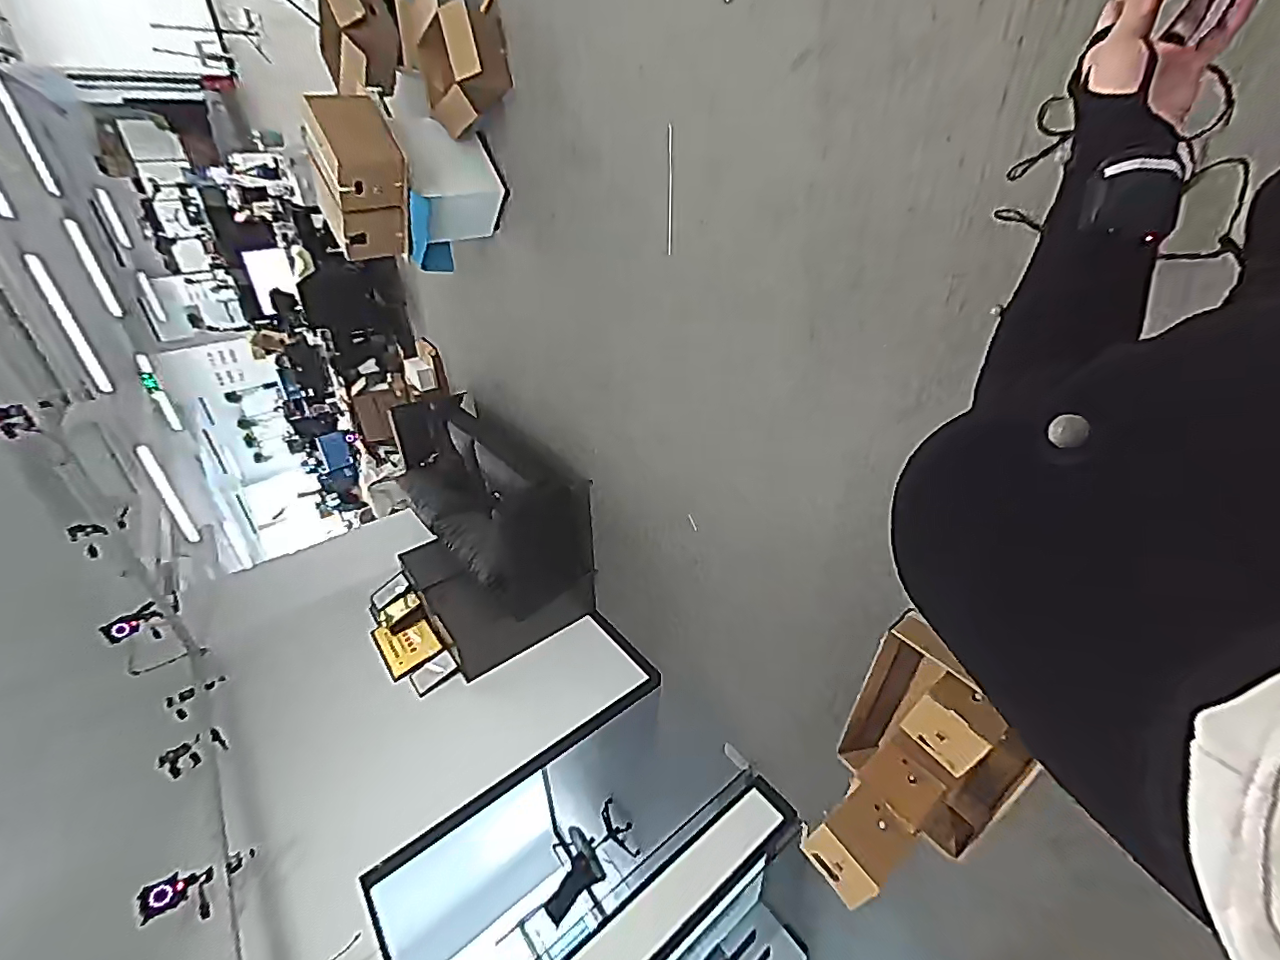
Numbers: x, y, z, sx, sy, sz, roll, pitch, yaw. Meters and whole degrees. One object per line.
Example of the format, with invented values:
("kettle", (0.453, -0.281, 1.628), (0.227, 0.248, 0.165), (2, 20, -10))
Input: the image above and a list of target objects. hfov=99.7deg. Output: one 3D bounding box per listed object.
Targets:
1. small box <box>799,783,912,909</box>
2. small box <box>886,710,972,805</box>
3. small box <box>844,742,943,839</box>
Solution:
("small box", (0.530, 0.893, 1.328), (0.168, 0.176, 0.179), (43, 139, 34))
("small box", (0.783, 0.786, 1.503), (0.168, 0.176, 0.179), (35, 135, 40))
("small box", (0.656, 0.836, 1.415), (0.168, 0.176, 0.179), (36, 135, 41))
